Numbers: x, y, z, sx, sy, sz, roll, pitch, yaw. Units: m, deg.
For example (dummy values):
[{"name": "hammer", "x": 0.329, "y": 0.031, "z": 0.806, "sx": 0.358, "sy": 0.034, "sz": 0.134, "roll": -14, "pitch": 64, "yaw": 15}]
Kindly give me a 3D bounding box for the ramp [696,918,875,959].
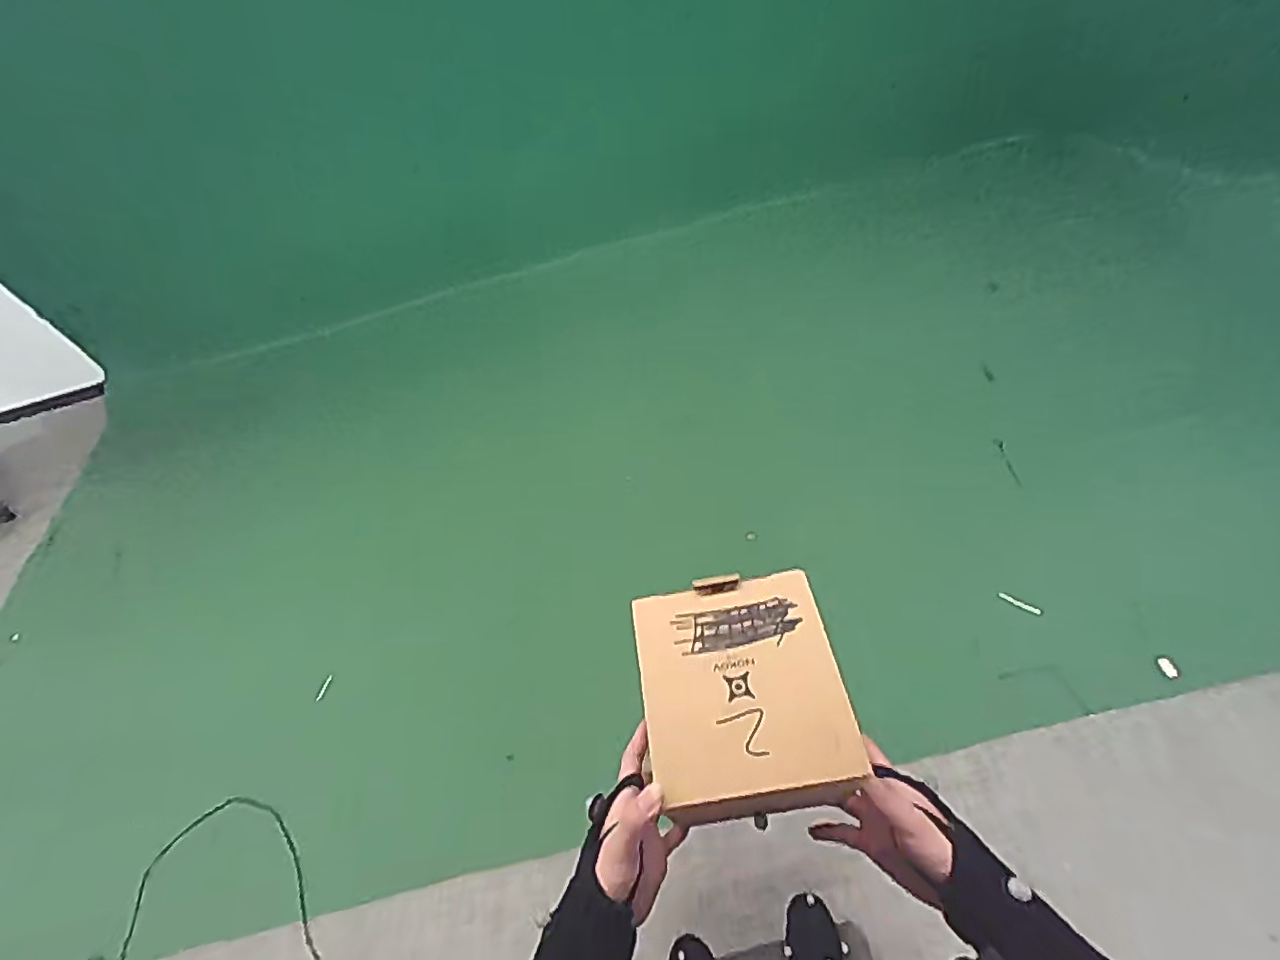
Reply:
[{"name": "ramp", "x": 0.379, "y": 1.466, "z": 0.974, "sx": 0.509, "sy": 0.206, "sz": 0.991, "roll": -17, "pitch": 53, "yaw": -1}]
